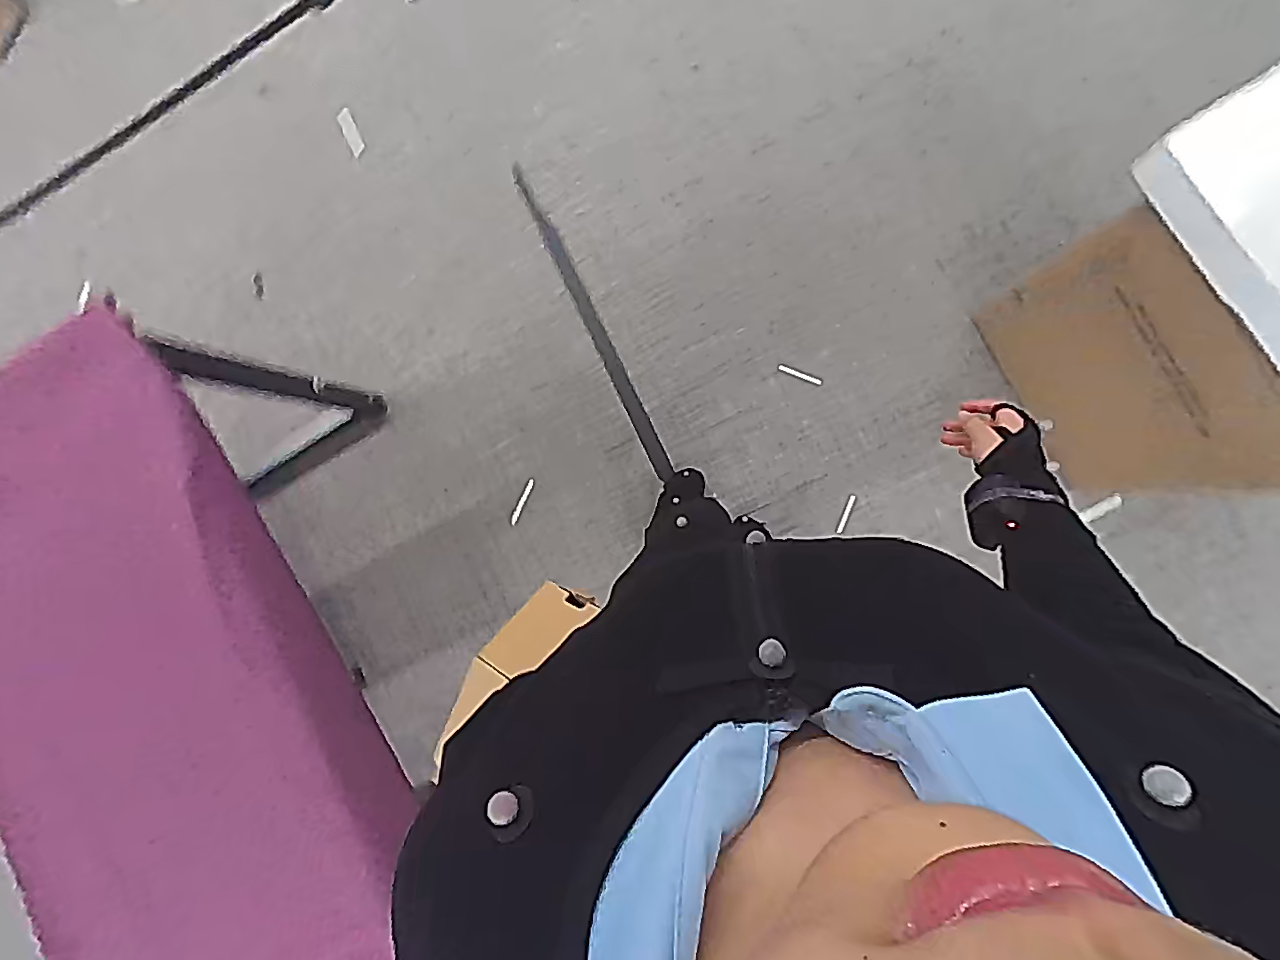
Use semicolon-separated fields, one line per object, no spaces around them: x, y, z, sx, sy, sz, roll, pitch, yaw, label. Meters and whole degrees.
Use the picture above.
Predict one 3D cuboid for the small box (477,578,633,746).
-0.133;0.306;0.913;0.168;0.176;0.179;19;49;37;small box
